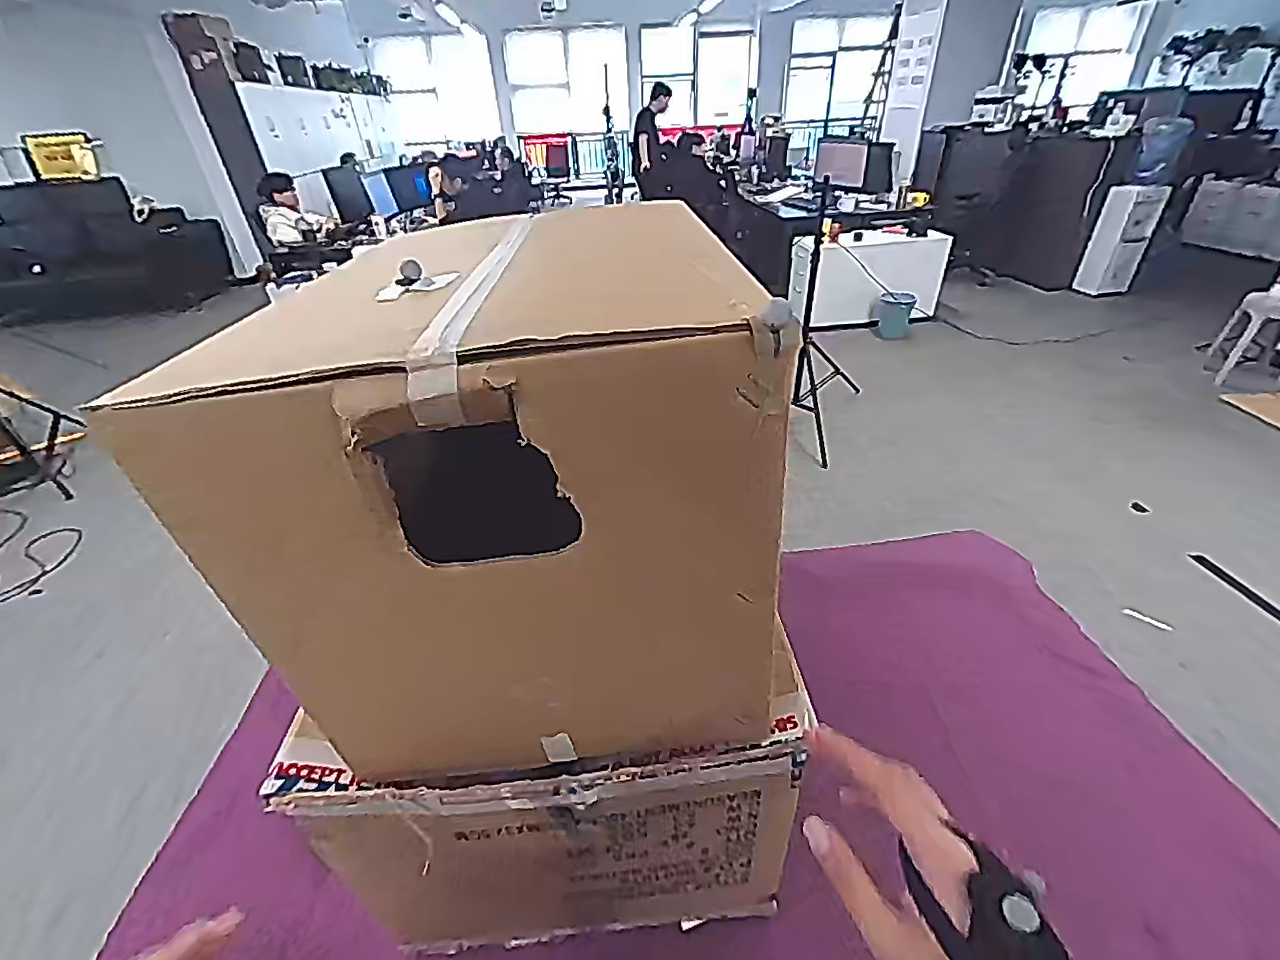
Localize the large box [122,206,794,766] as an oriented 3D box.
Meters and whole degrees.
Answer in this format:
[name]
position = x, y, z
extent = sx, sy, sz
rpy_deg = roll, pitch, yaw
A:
[large box]
position = -0.083, -0.033, 0.485
extent = 0.320, 0.320, 0.408
rpy_deg = -8, 34, 1
